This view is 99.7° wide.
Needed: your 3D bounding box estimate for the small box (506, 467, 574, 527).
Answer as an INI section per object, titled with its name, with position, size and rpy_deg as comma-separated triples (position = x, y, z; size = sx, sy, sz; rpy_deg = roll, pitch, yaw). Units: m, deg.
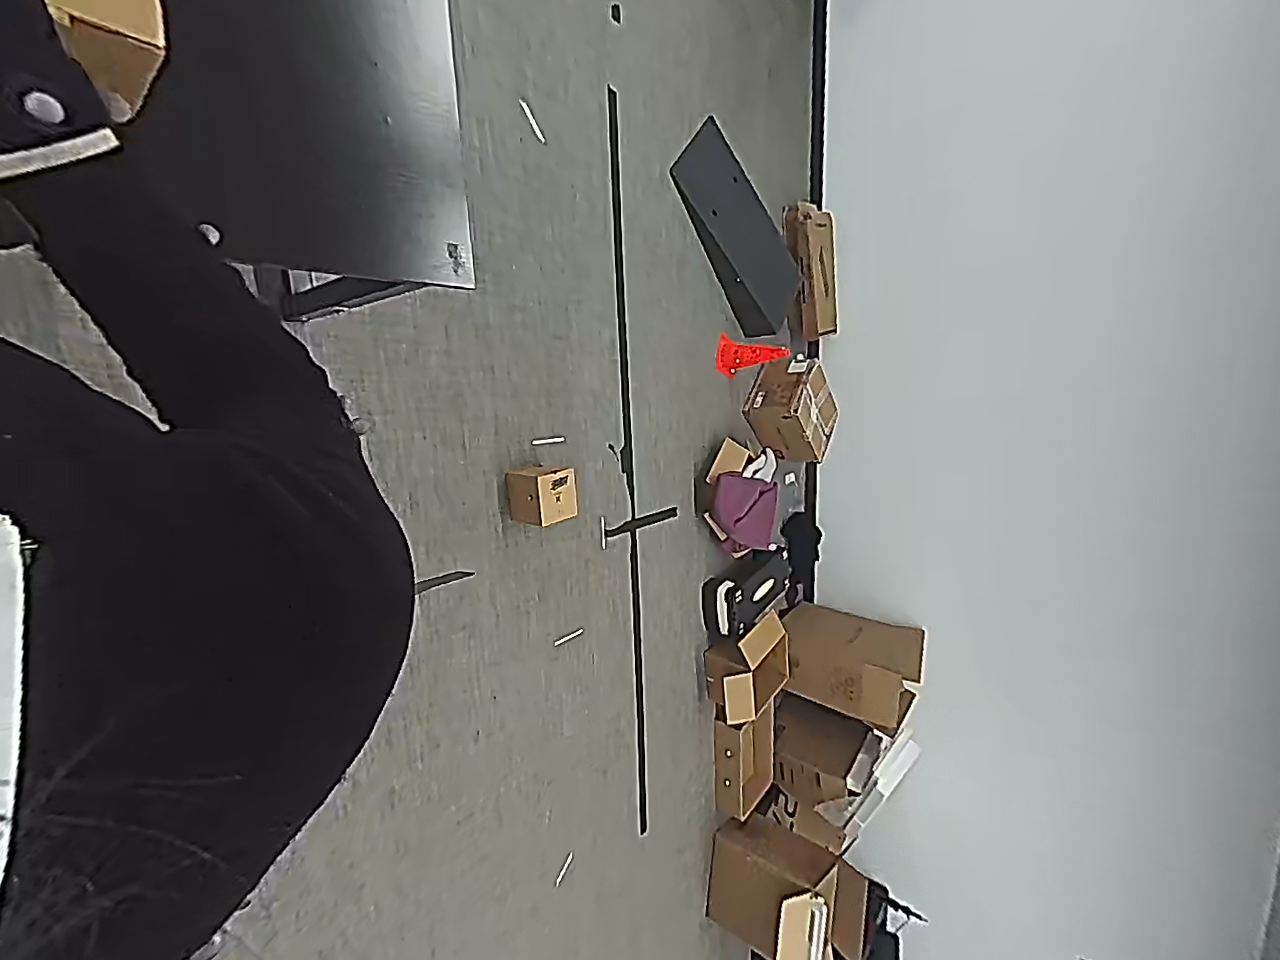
[small box]
position = -0.353, 0.053, 1.892
size = 0.168, 0.176, 0.179
rpy_deg = -18, 109, -48
